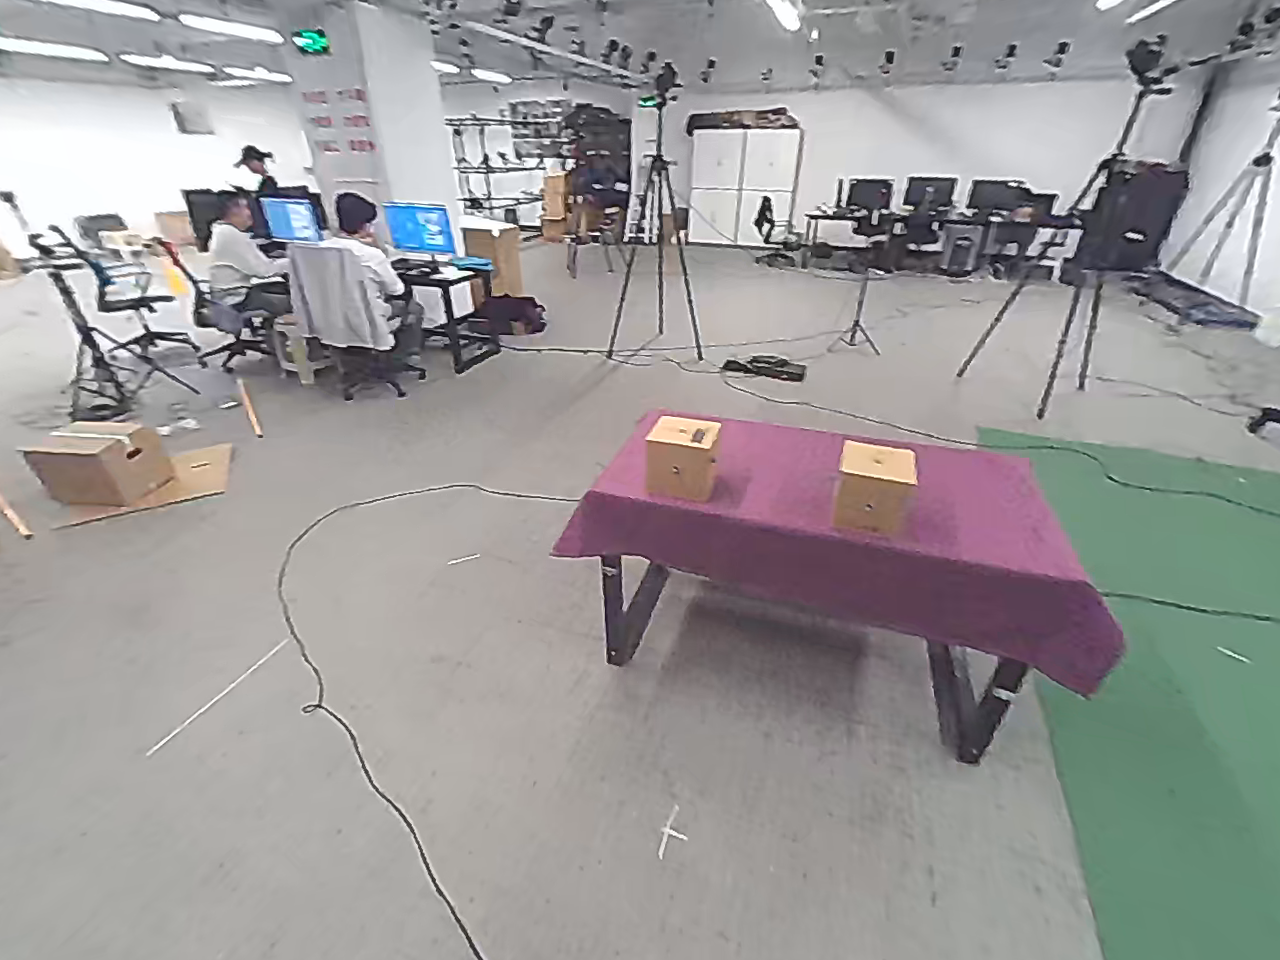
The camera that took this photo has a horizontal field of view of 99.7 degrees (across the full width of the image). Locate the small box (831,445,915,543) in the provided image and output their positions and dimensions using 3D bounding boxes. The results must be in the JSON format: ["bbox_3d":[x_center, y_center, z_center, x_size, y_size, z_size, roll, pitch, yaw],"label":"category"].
[{"bbox_3d":[0.588,0.035,1.372,0.168,0.176,0.179,12,33,18],"label":"small box"}]
